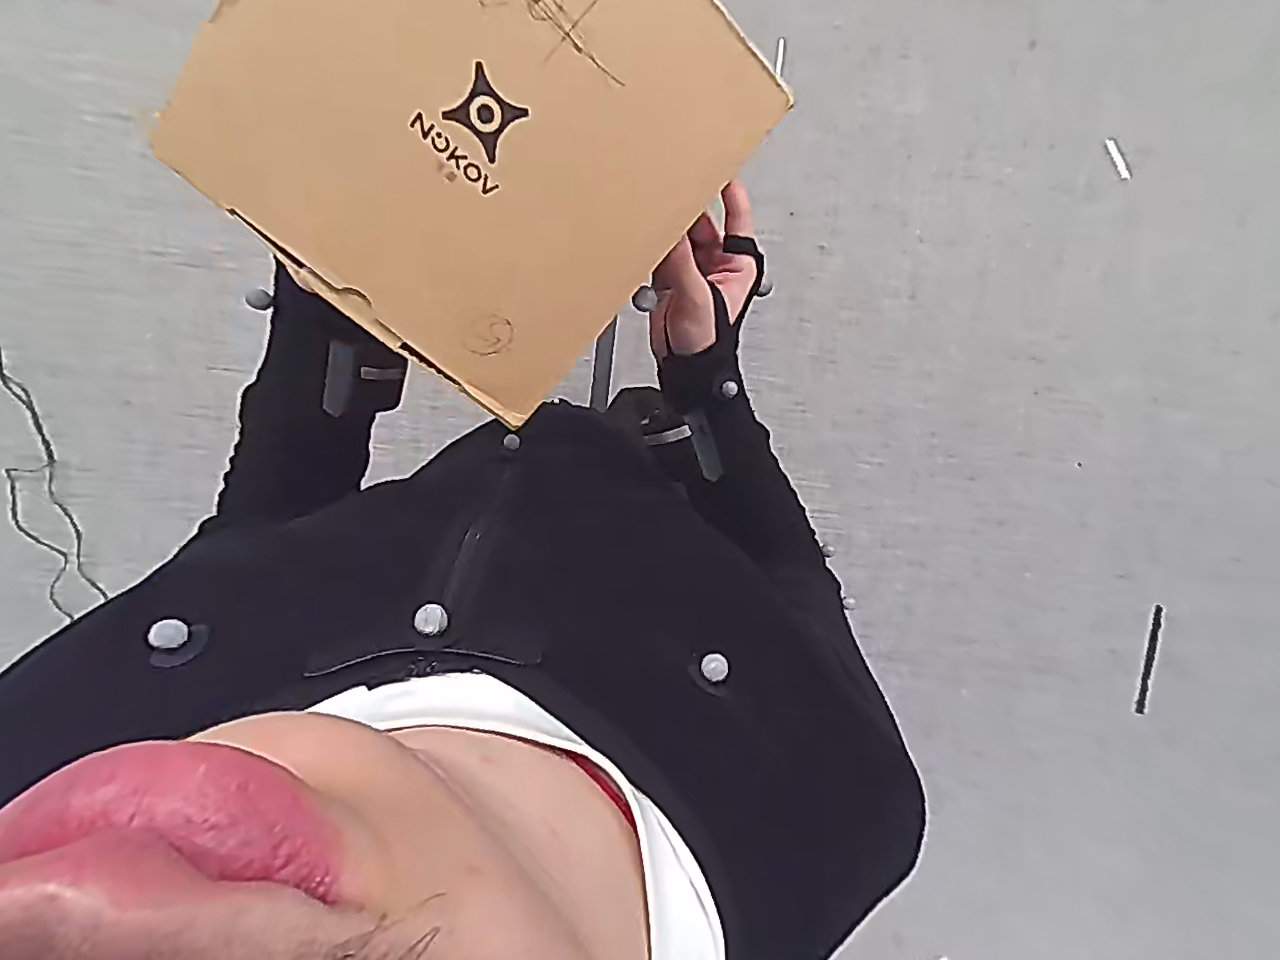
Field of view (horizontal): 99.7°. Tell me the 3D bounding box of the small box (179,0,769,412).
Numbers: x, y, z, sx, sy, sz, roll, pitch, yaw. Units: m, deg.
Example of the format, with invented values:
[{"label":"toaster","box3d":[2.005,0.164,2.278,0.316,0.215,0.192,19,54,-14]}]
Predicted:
[{"label":"small box","box3d":[-0.068,-0.169,0.286,0.168,0.176,0.179,38,103,-19]}]
